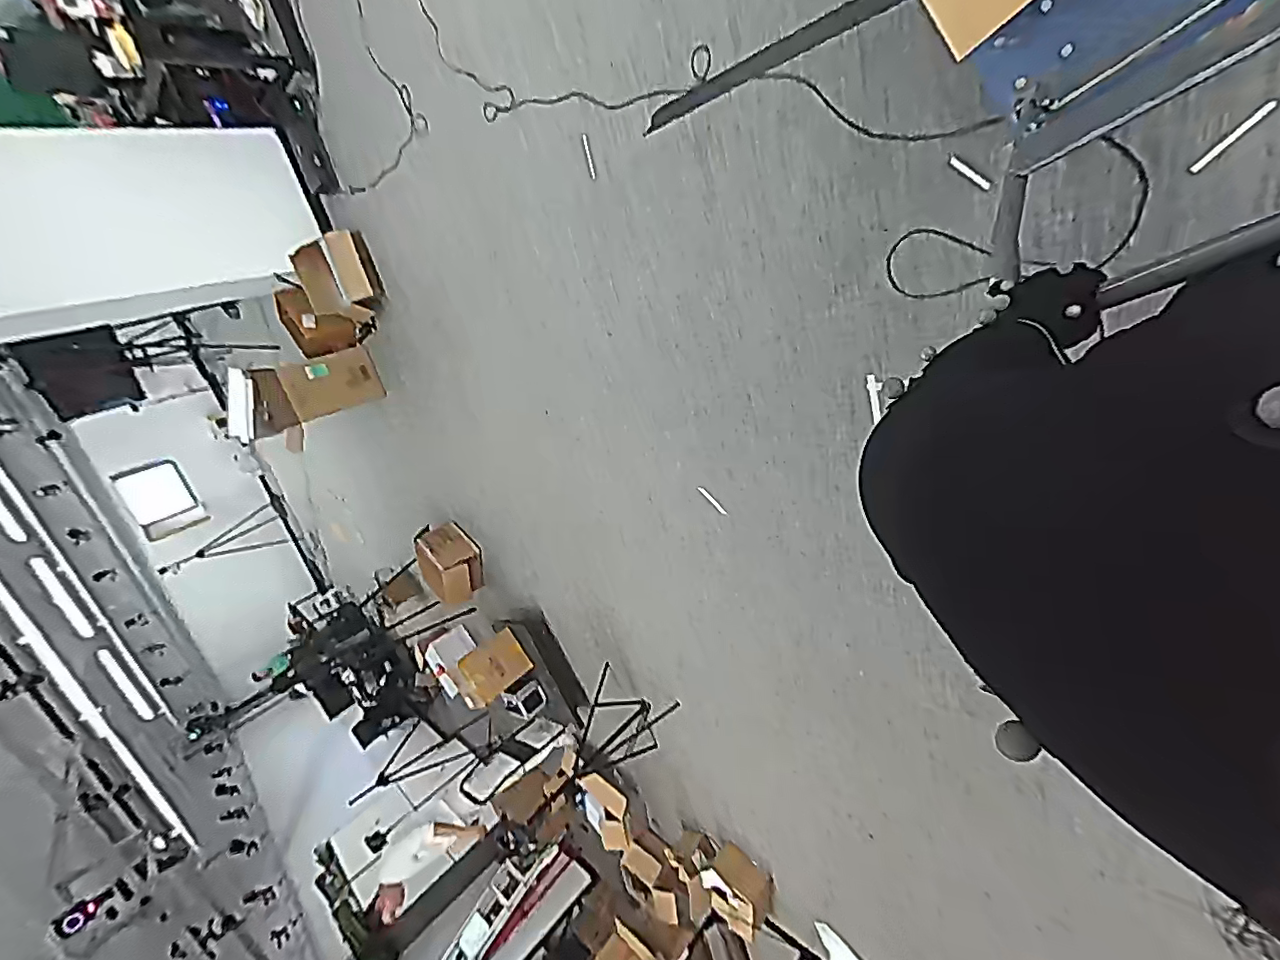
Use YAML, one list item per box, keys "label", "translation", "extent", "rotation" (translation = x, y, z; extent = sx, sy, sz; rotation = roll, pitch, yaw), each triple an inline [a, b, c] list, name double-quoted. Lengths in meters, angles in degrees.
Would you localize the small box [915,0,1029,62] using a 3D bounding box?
- label: "small box"
  translation: [0.535, -0.795, 0.821]
  extent: [0.168, 0.176, 0.179]
  rotation: [47, 144, -14]
